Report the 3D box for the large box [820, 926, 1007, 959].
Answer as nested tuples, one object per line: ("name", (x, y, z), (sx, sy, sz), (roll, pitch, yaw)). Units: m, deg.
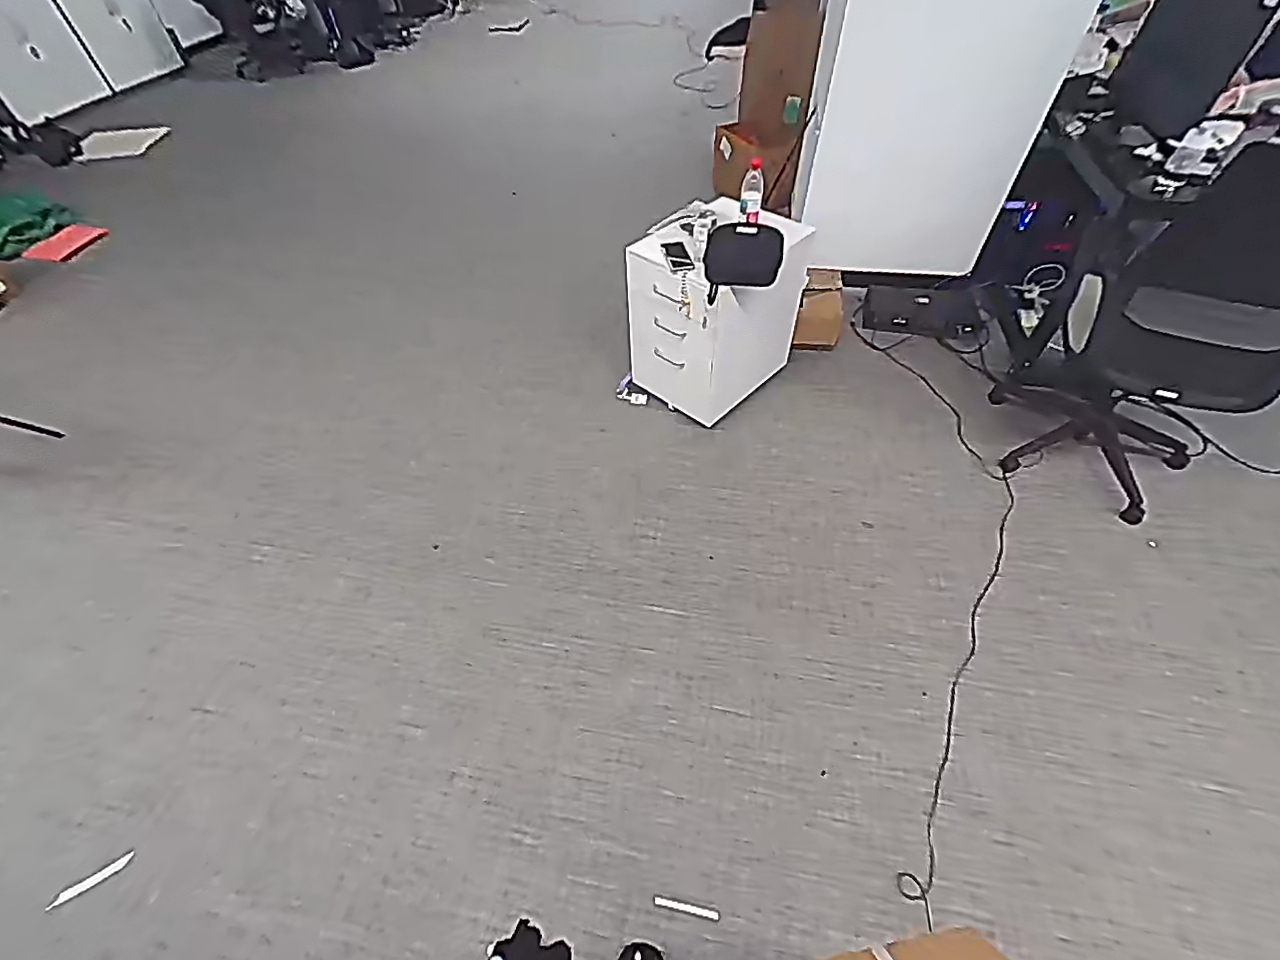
("large box", (0.398, 0.810, 0.597), (0.320, 0.408, 0.320), (-10, 78, -6))
